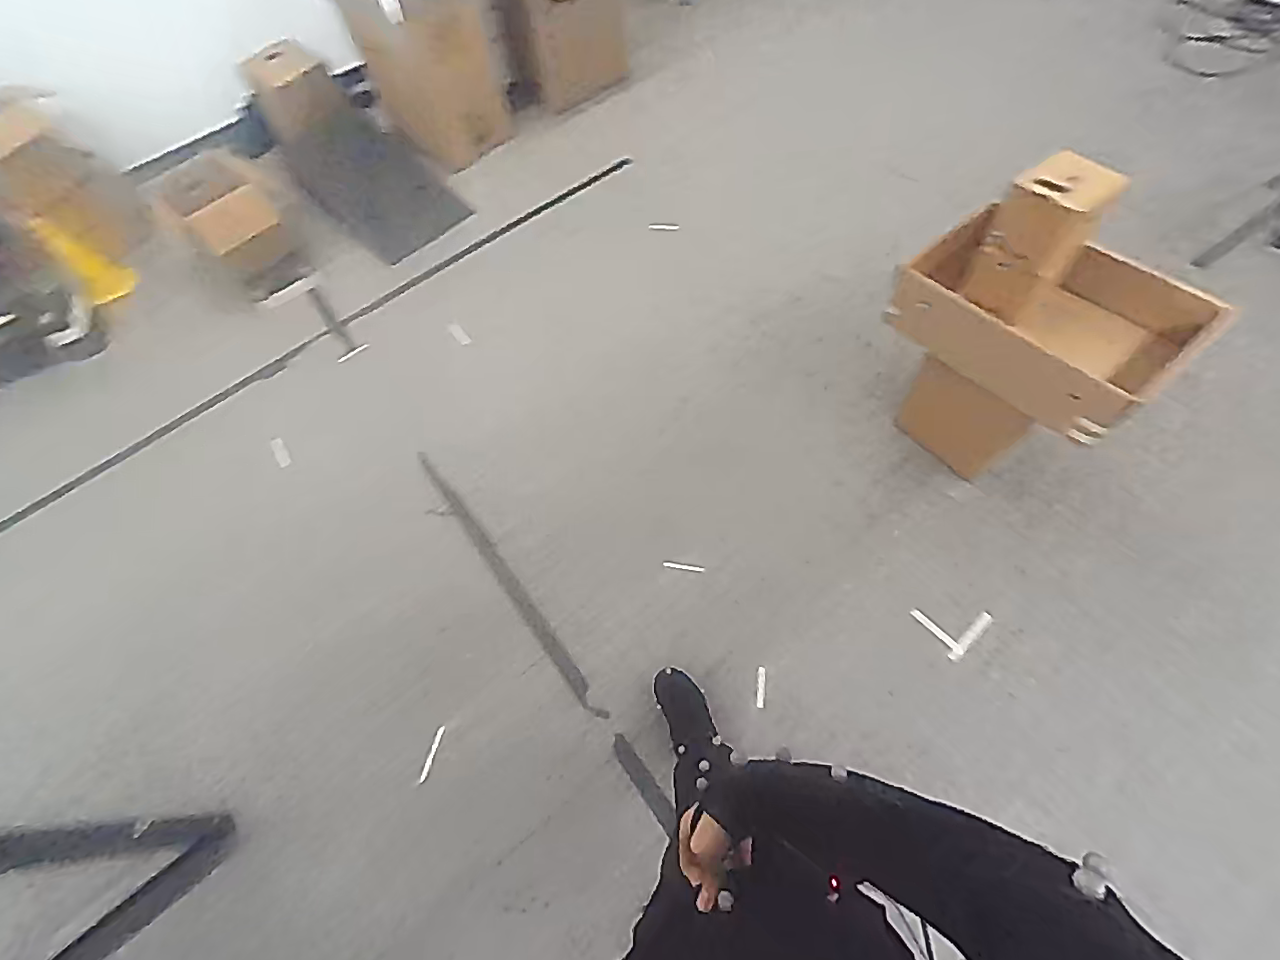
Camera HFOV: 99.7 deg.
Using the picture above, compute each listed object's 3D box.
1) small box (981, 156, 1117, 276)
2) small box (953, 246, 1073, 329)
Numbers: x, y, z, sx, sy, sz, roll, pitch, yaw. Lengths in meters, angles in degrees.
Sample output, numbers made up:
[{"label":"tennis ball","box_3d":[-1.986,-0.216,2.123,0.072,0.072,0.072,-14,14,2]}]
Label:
[{"label":"small box","box_3d":[0.956,-0.623,1.290,0.179,0.176,0.168,-33,63,-12]},{"label":"small box","box_3d":[0.974,-0.539,1.431,0.179,0.176,0.168,-39,64,-15]}]
